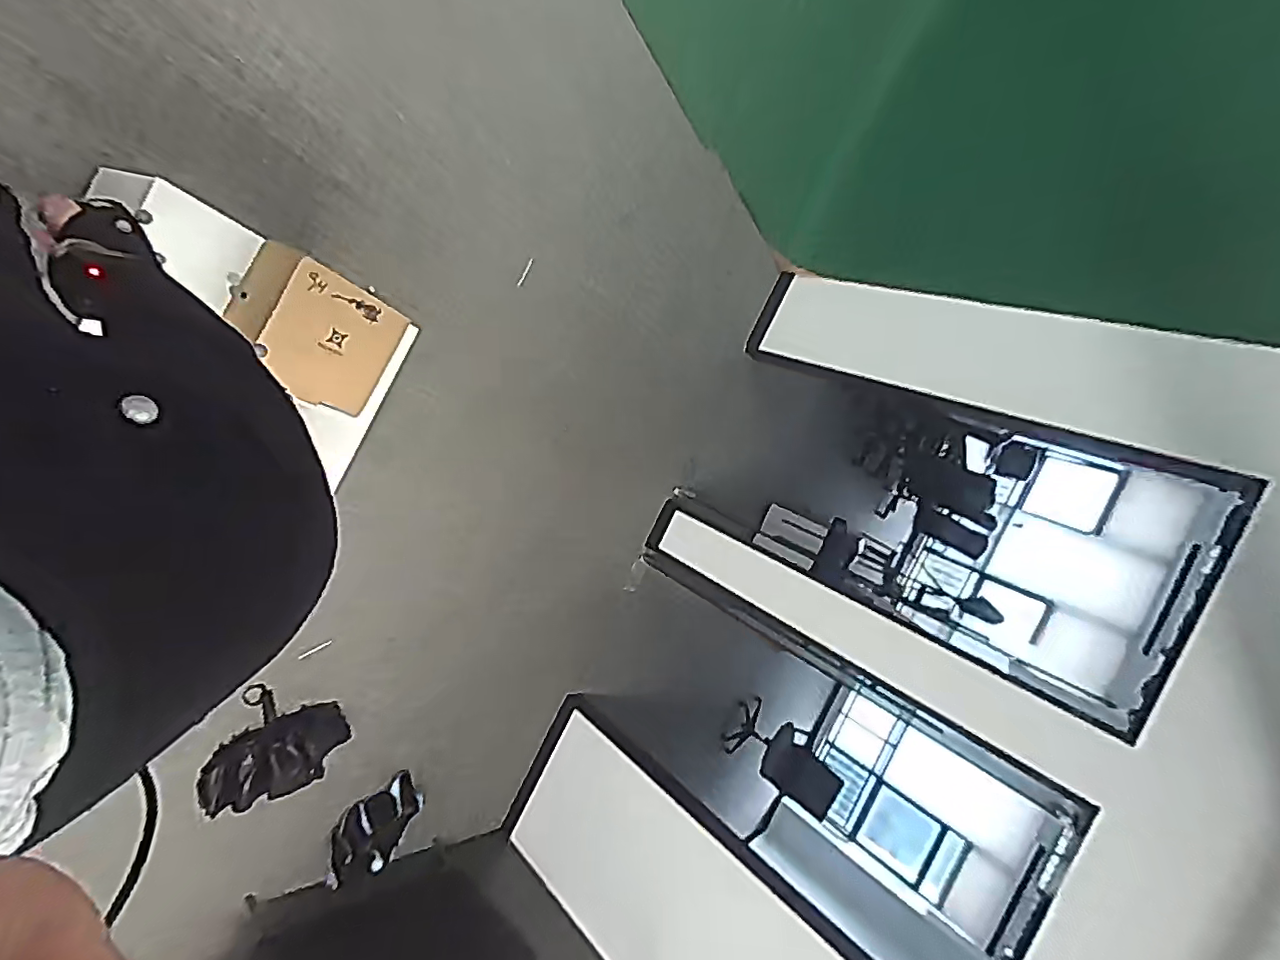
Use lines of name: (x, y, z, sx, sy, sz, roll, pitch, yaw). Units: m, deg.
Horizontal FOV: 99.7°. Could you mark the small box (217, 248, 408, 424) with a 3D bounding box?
small box: (-0.488, -0.213, 0.802, 0.168, 0.176, 0.179, 29, 90, -54)
